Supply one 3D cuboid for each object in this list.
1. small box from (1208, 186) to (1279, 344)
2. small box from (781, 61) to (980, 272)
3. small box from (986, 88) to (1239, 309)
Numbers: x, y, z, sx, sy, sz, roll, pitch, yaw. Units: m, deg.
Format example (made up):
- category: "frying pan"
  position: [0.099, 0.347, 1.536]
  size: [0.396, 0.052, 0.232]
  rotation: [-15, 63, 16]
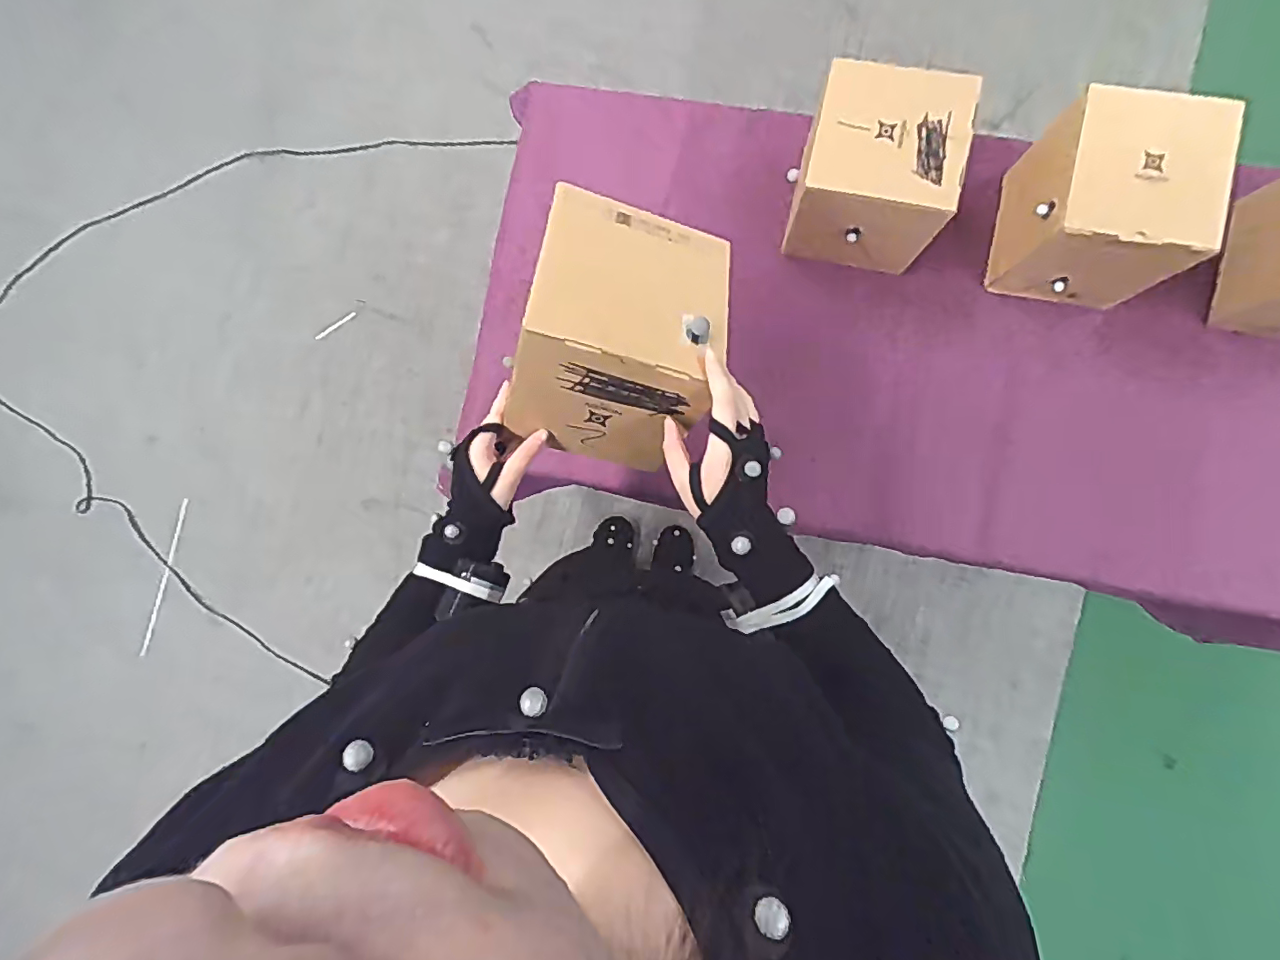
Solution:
- category: "small box"
  position: [0.853, -0.273, 0.646]
  size: [0.168, 0.176, 0.179]
  rotation: [14, 90, 7]
- category: "small box"
  position: [0.299, -0.395, 0.710]
  size: [0.179, 0.176, 0.168]
  rotation: [14, 87, 7]
- category: "small box"
  position: [0.574, -0.341, 0.683]
  size: [0.168, 0.176, 0.179]
  rotation: [12, 88, 6]
